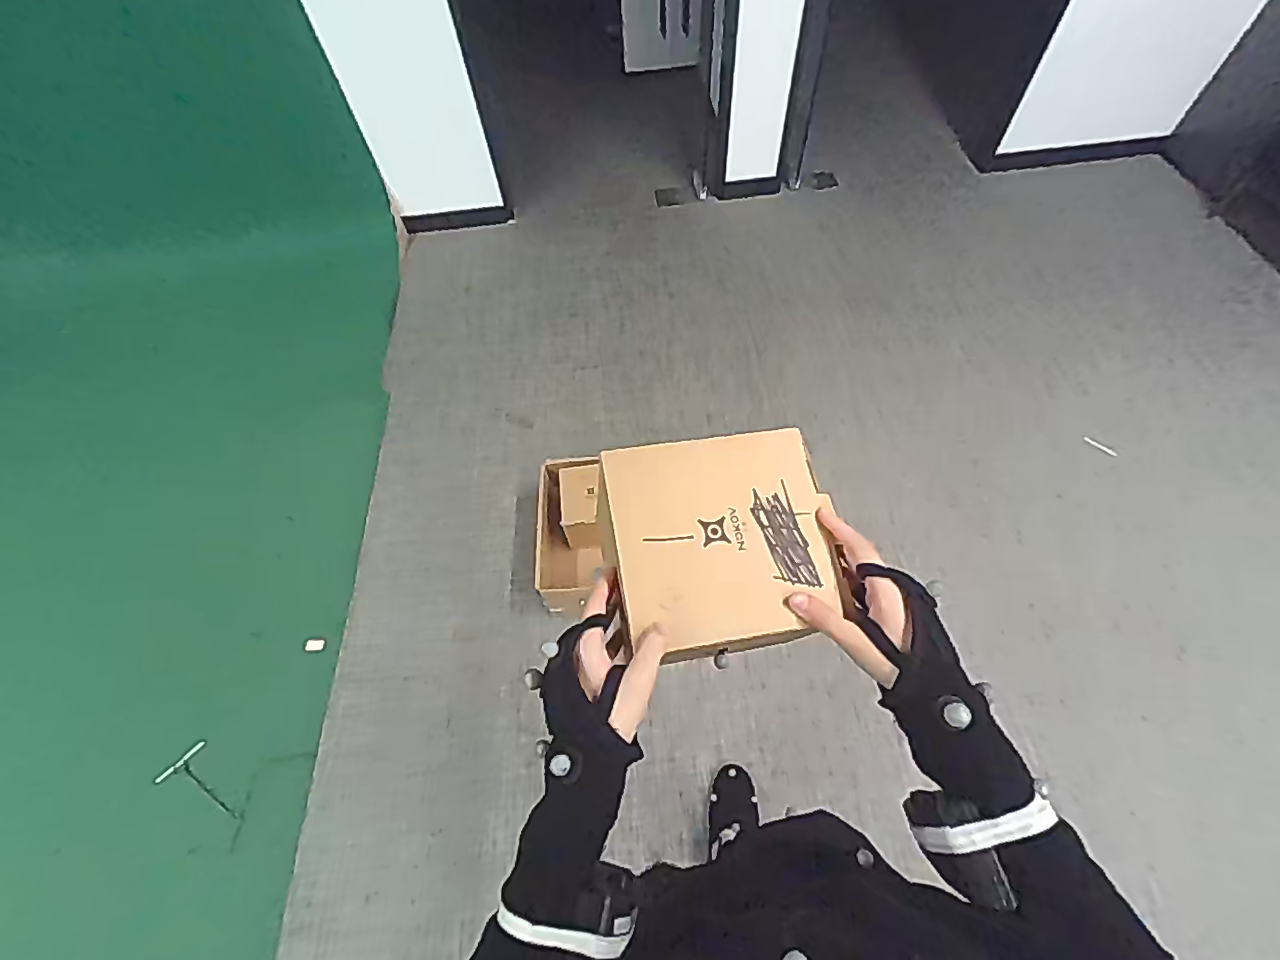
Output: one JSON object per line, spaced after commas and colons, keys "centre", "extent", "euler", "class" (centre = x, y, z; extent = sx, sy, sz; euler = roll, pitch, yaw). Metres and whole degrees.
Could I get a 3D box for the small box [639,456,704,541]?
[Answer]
{"centre": [0.086, 0.054, 1.501], "extent": [0.168, 0.176, 0.179], "euler": [-5, 60, 3], "class": "small box"}
